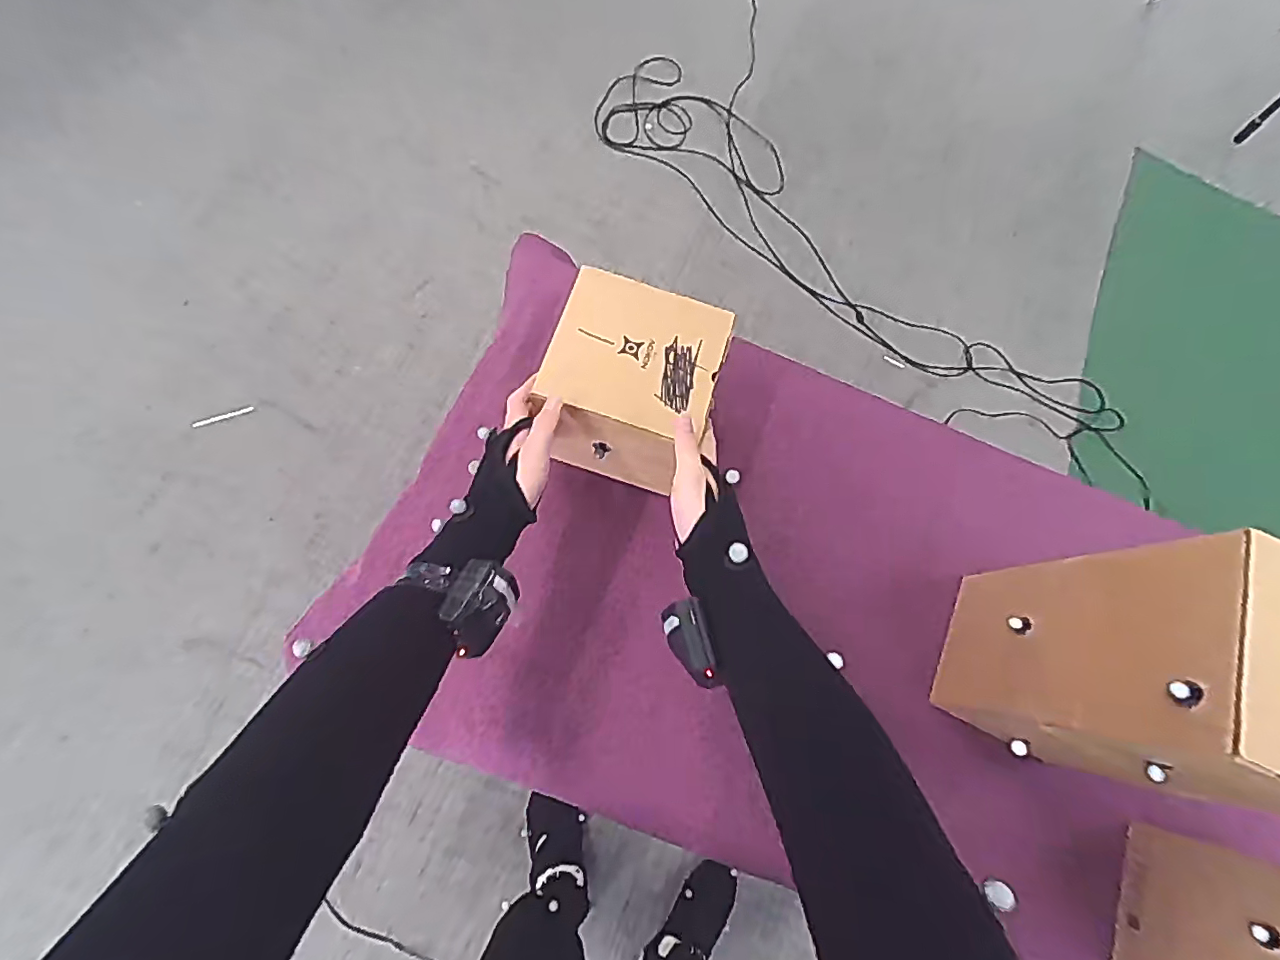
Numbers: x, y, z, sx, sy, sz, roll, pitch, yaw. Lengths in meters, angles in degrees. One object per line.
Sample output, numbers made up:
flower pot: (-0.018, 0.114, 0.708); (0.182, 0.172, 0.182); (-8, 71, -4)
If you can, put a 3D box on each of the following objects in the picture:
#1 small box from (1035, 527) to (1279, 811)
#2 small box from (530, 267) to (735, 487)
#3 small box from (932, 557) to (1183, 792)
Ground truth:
small box: (0.489, 0.164, 0.467); (0.168, 0.176, 0.179); (25, 73, 0)
small box: (-0.012, -0.104, 0.626); (0.179, 0.176, 0.168); (18, 71, -1)
small box: (0.473, 0.213, 0.621); (0.168, 0.176, 0.179); (27, 72, 1)
